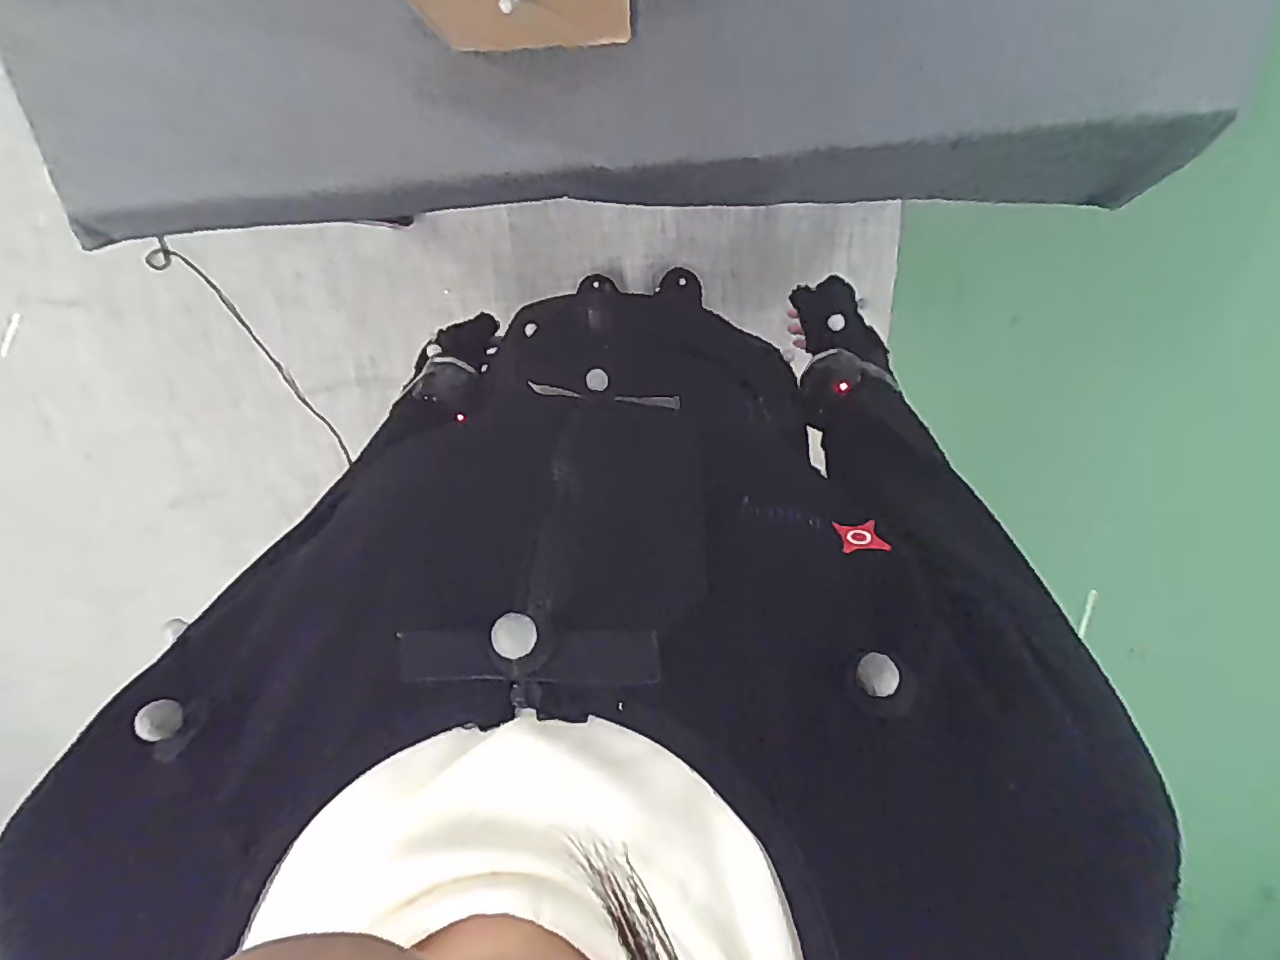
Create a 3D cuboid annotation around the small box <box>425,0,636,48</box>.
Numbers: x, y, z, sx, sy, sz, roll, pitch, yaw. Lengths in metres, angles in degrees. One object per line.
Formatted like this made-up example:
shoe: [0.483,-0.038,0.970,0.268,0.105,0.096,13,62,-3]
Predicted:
small box: [-0.098,-0.467,0.422,0.179,0.176,0.168,-2,113,3]
